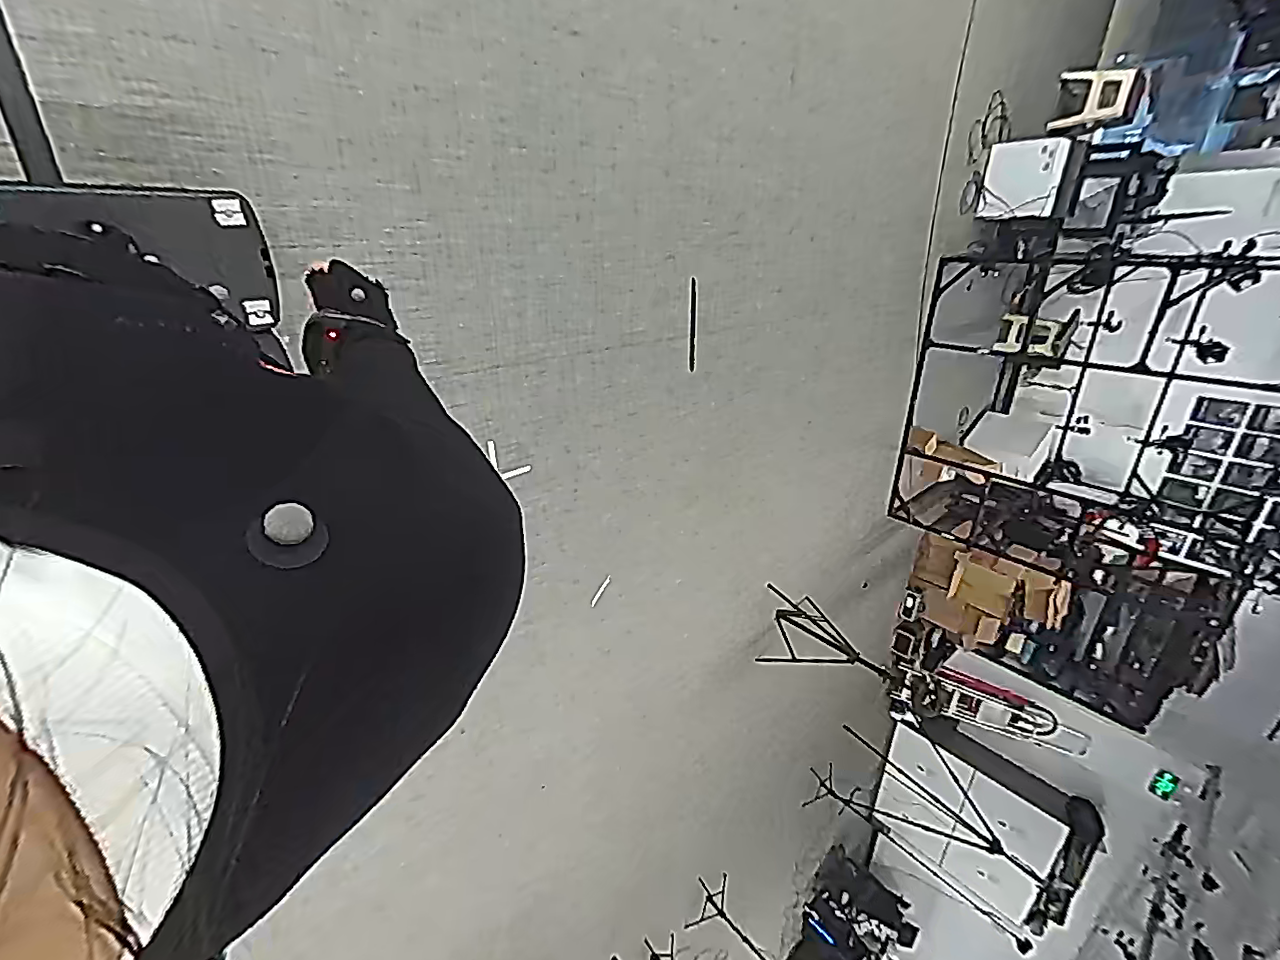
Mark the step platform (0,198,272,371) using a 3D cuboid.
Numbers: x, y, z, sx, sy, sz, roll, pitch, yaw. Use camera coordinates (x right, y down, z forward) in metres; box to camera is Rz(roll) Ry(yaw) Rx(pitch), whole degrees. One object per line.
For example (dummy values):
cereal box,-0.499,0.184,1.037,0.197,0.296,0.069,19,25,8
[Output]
step platform,-1.115,-0.376,1.025,0.684,0.204,0.286,-22,123,-38
